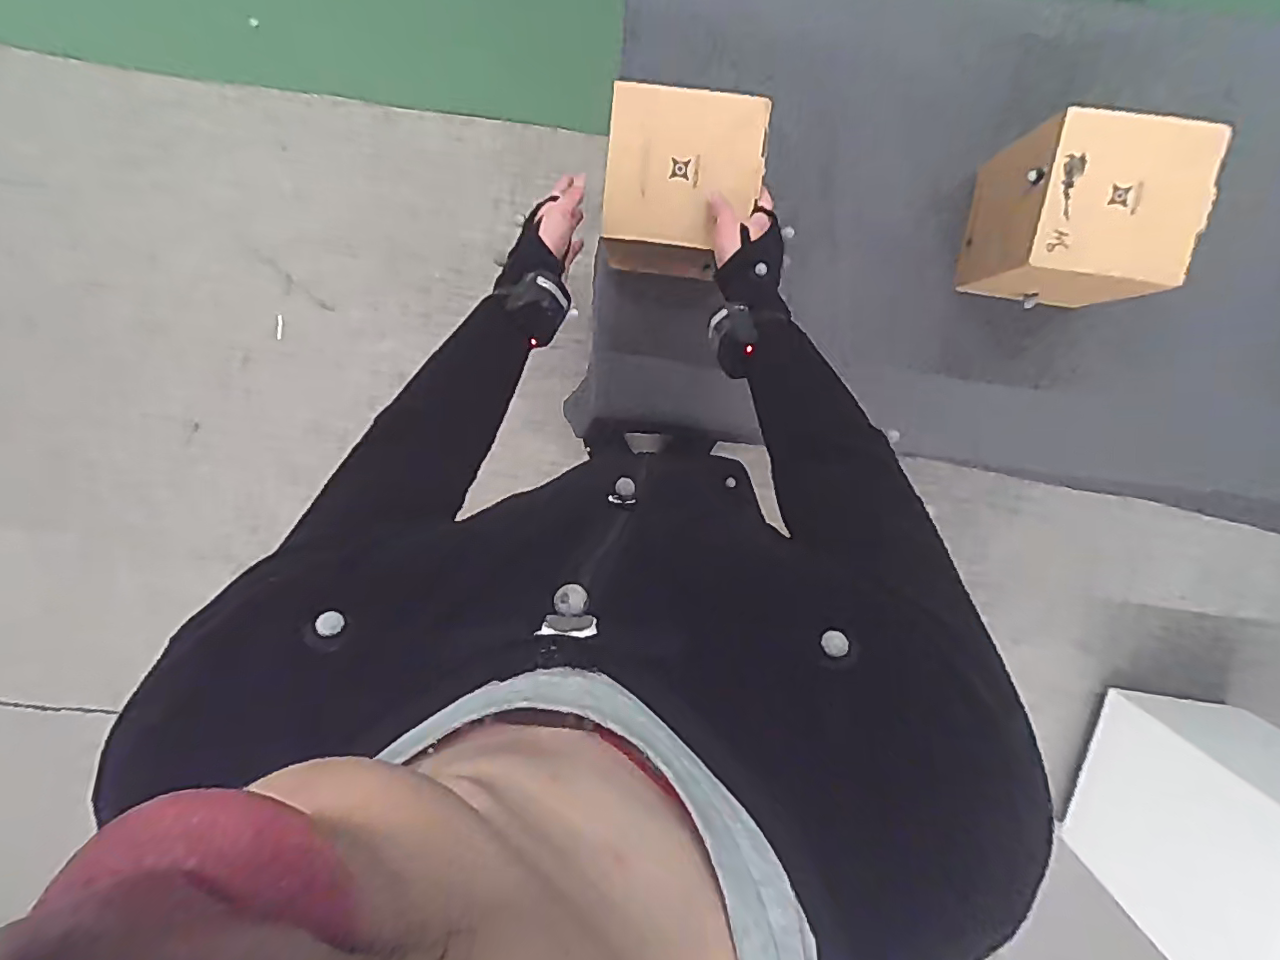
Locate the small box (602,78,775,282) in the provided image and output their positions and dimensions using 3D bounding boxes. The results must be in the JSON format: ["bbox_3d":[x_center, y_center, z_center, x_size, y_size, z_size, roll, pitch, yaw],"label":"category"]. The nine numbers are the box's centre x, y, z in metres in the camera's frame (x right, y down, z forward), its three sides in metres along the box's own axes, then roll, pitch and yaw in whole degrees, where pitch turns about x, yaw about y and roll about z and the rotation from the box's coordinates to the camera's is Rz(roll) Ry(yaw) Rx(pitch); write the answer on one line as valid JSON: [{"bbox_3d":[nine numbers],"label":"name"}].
[{"bbox_3d":[0.051,-0.352,0.669,0.179,0.176,0.168,6,98,-1],"label":"small box"}]

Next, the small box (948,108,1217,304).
[{"bbox_3d":[0.532,-0.324,0.678,0.179,0.176,0.168,8,100,-2],"label":"small box"}]
